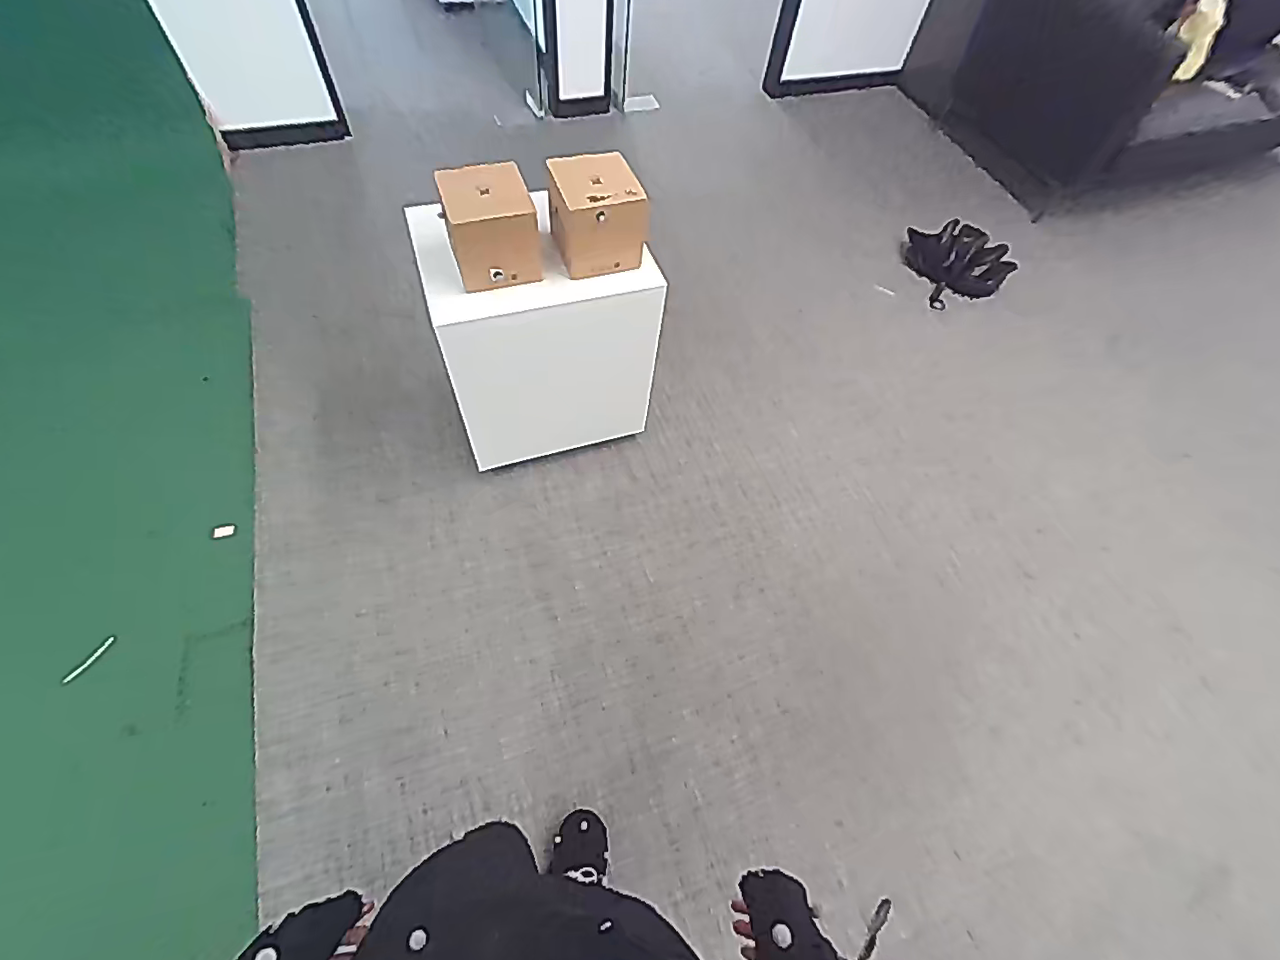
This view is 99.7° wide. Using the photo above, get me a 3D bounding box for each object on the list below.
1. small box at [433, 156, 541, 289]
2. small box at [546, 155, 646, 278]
[{"bbox_3d":[-0.308,-0.526,1.110,0.168,0.176,0.179,-17,65,-14],"label":"small box"},{"bbox_3d":[-0.099,-0.568,1.169,0.168,0.176,0.179,-16,61,-14],"label":"small box"}]
